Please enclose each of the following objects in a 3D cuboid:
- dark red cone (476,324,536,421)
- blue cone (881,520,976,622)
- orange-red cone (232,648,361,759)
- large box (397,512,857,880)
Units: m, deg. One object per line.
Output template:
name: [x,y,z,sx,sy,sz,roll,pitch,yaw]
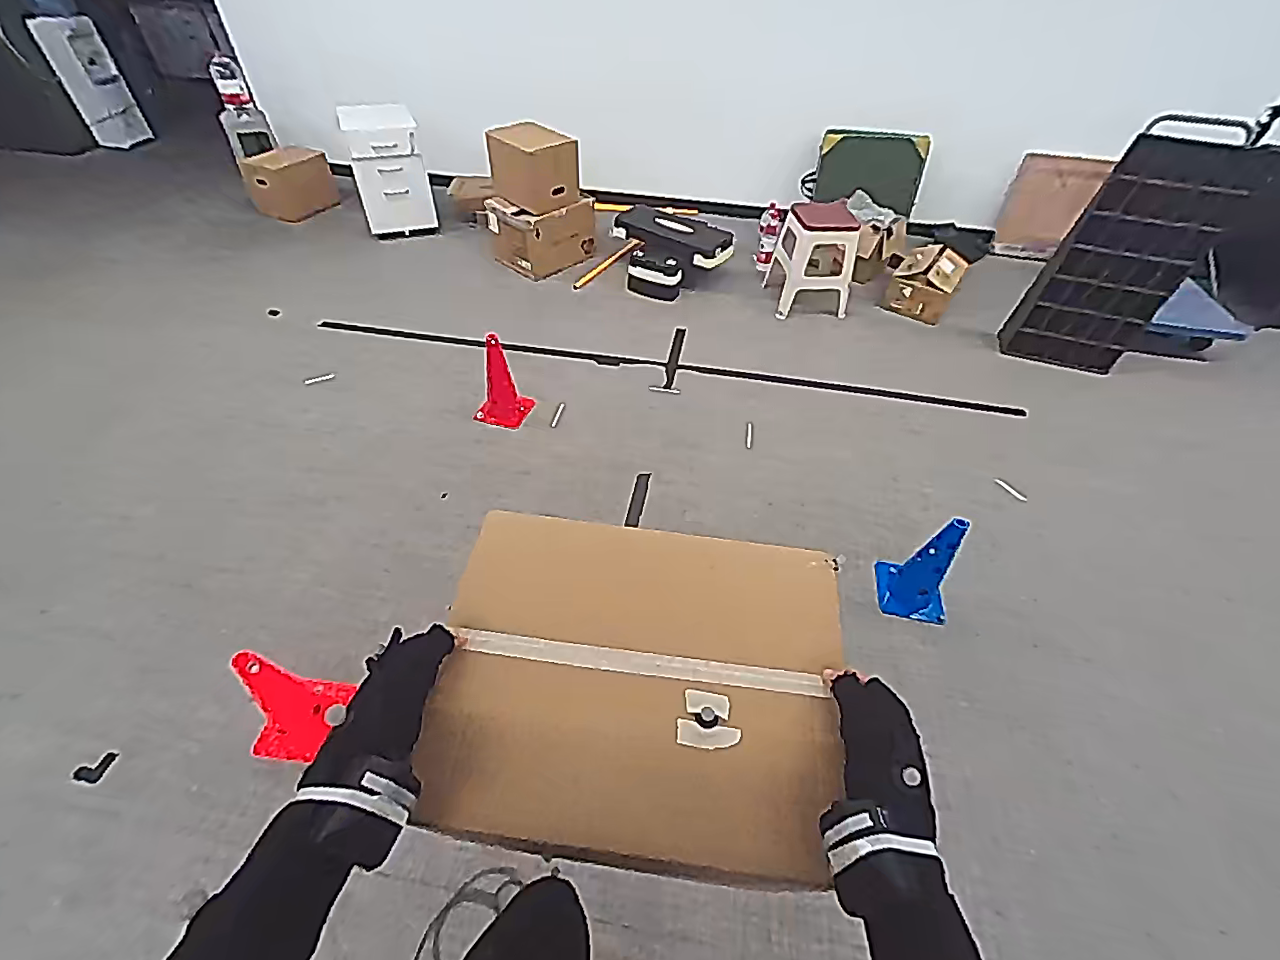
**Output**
dark red cone: [-0.548,-0.433,2.138,0.201,0.394,0.202,14,48,9]
blue cone: [0.887,0.250,1.624,0.192,0.380,0.193,12,47,7]
orange-red cone: [-0.851,0.495,1.279,0.198,0.360,0.199,7,48,4]
large box: [-0.006,0.270,0.663,0.408,0.320,0.320,8,53,3]
